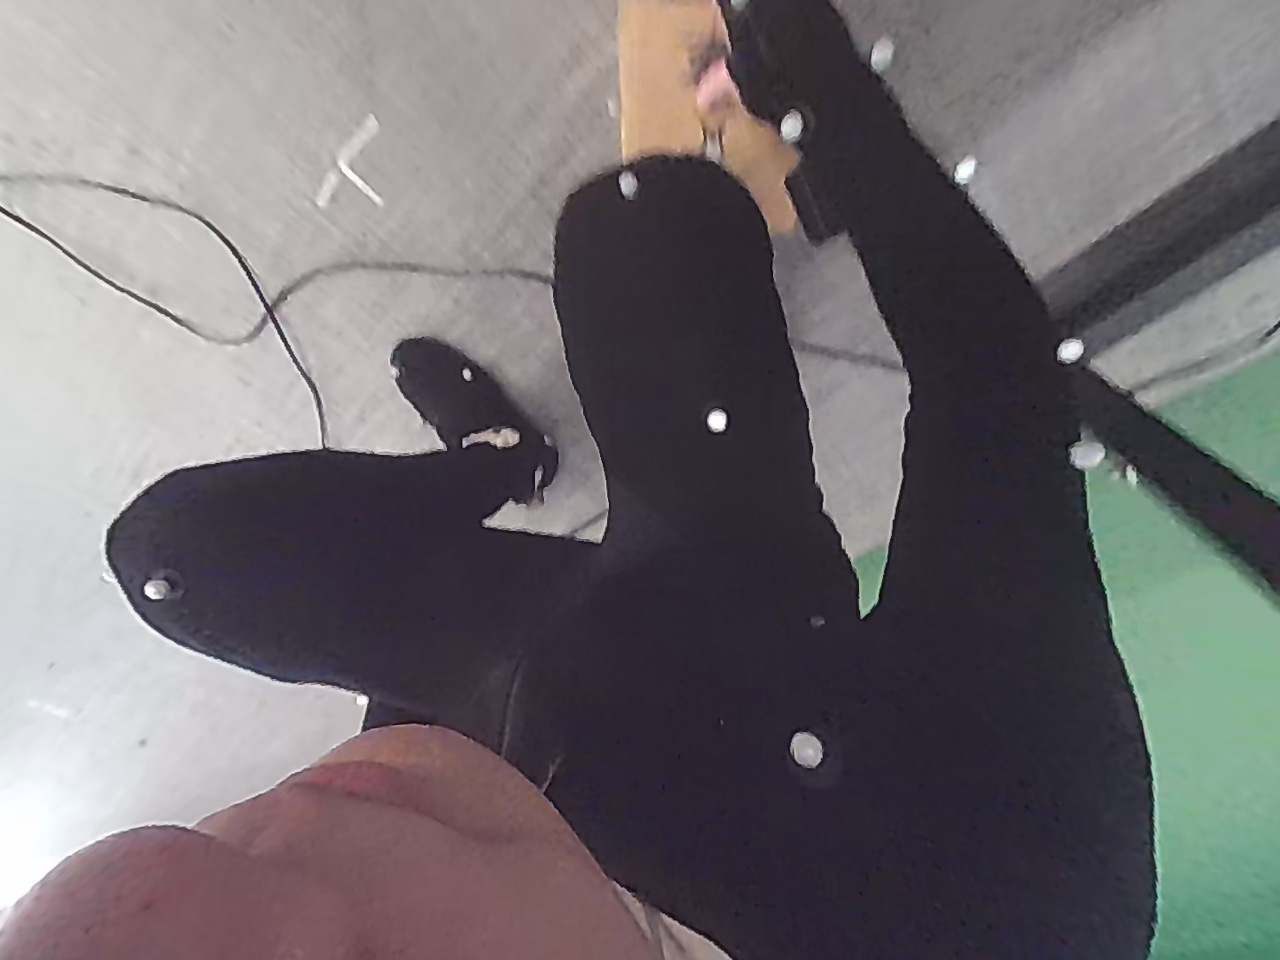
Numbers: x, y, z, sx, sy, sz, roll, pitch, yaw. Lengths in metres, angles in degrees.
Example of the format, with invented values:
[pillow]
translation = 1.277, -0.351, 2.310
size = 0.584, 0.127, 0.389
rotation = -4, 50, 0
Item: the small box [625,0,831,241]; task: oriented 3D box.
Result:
[small box]
translation = 0.070, -0.350, 0.534
size = 0.168, 0.176, 0.179
rotation = 1, 128, 2
